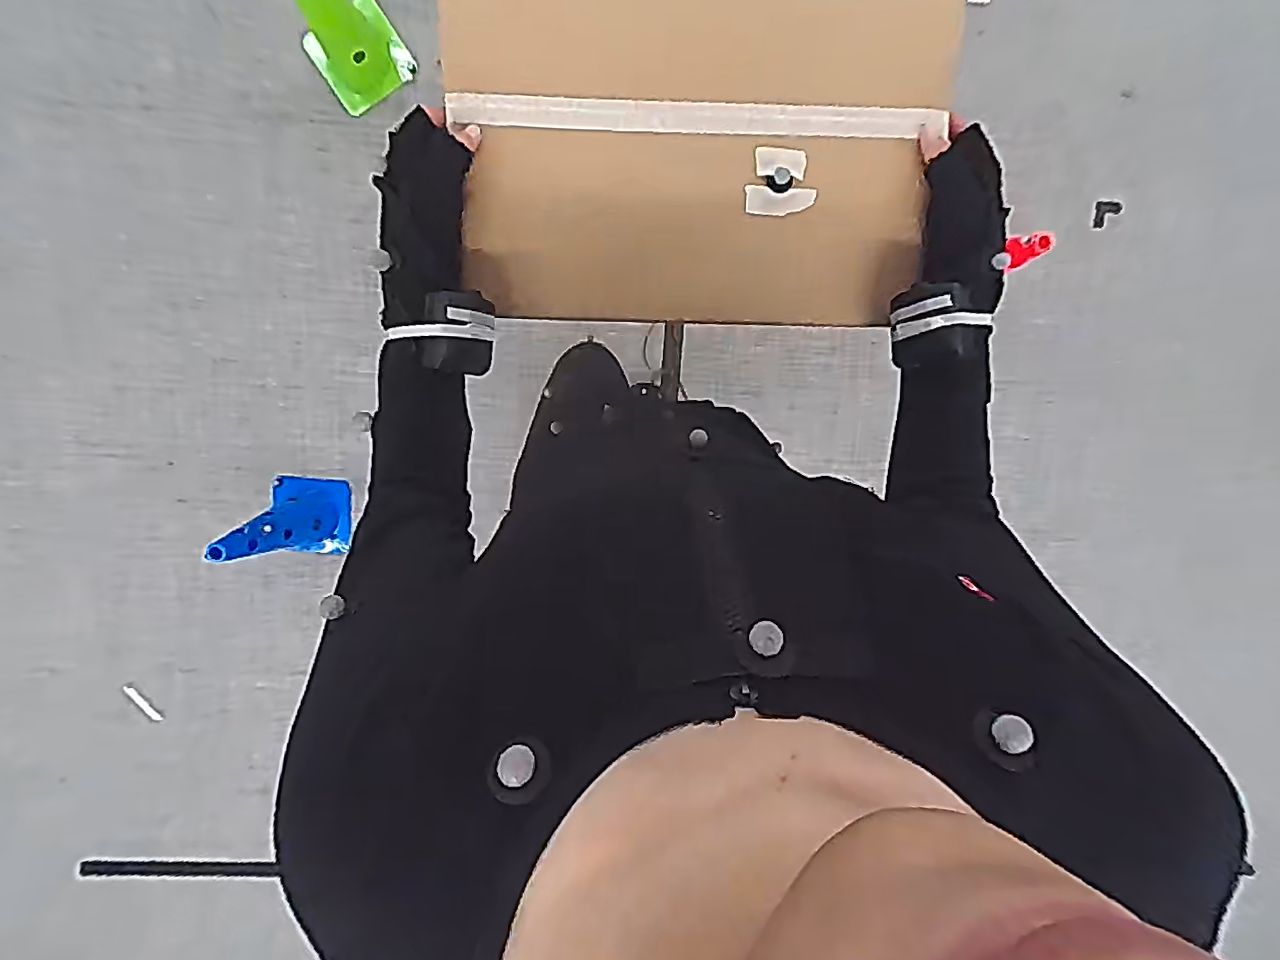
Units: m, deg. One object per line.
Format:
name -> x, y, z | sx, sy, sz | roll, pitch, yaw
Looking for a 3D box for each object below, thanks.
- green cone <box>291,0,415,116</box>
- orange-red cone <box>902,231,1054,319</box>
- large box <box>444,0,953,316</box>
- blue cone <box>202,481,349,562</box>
green cone -> -0.657, -0.972, 1.107 | 0.202, 0.368, 0.200 | -34, 98, 4
orange-red cone -> 0.801, -0.509, 1.260 | 0.198, 0.360, 0.199 | 0, 98, -4
large box -> 0.040, -0.342, 0.583 | 0.408, 0.320, 0.320 | 0, 108, -3
blue cone -> -0.872, 0.125, 1.286 | 0.192, 0.380, 0.193 | 6, 98, -3
